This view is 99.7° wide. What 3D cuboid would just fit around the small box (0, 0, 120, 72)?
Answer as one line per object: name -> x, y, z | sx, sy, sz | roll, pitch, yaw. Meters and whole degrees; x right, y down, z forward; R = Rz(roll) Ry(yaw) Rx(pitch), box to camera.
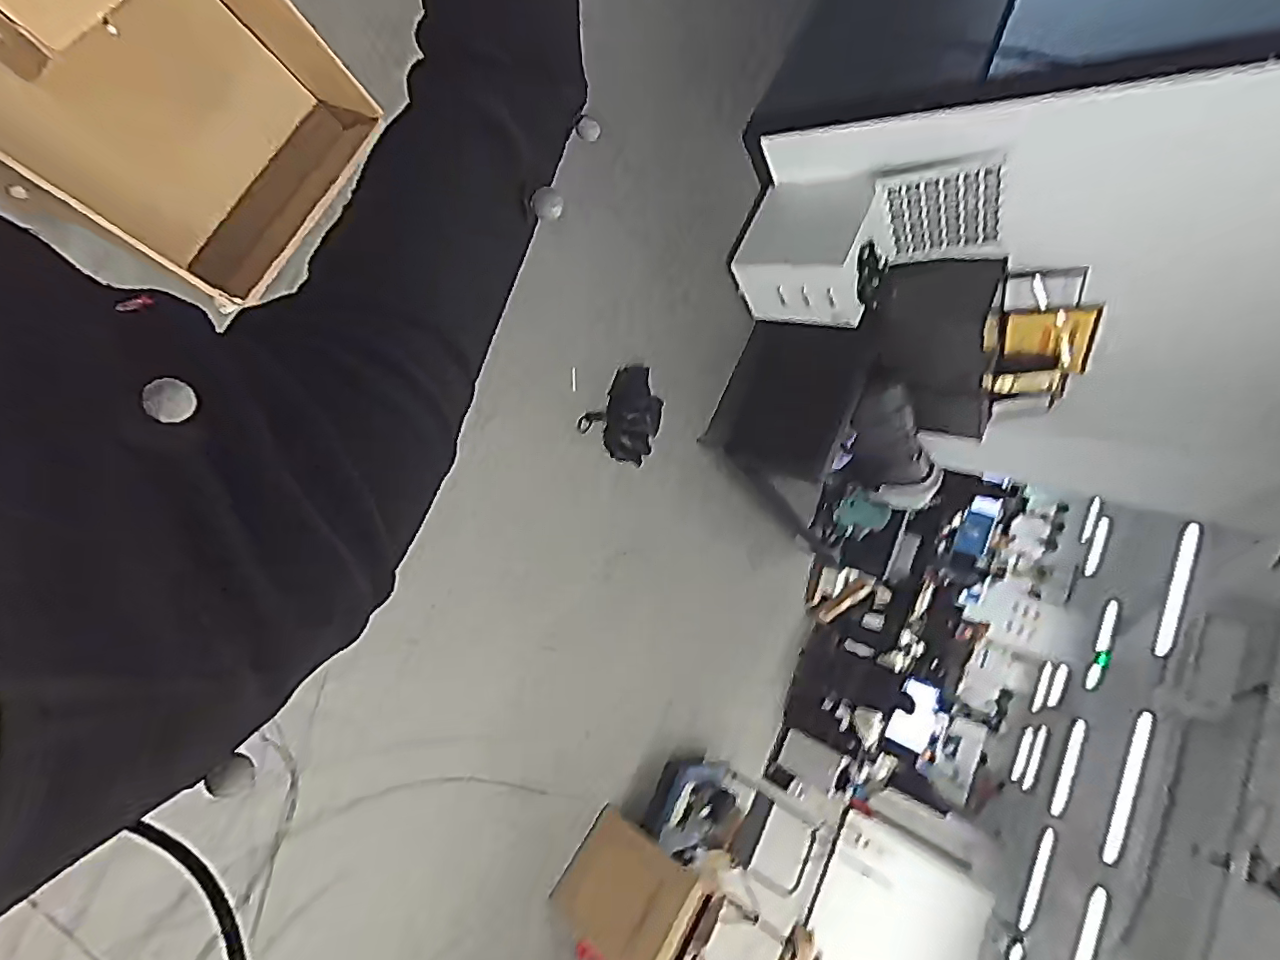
small box -> -0.686, -0.582, 0.579 | 0.179, 0.176, 0.168 | -64, 146, -16
